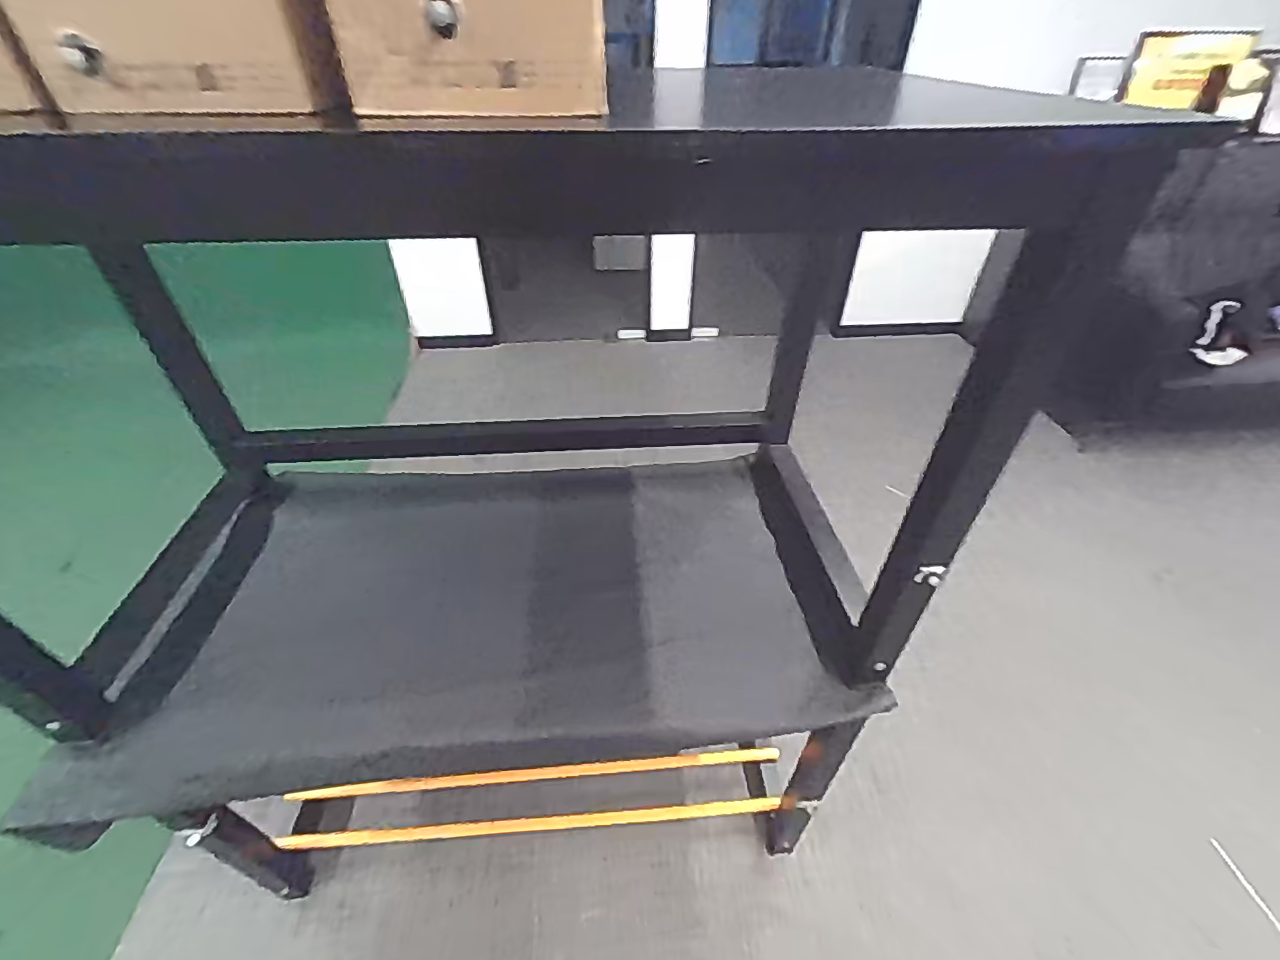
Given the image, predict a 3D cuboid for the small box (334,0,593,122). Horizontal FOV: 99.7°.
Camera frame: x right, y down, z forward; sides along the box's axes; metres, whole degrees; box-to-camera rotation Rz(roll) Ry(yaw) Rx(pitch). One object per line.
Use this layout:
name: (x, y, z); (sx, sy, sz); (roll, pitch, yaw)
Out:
small box: (-0.122, -0.374, 0.395); (0.168, 0.176, 0.179); (-2, 40, -3)
